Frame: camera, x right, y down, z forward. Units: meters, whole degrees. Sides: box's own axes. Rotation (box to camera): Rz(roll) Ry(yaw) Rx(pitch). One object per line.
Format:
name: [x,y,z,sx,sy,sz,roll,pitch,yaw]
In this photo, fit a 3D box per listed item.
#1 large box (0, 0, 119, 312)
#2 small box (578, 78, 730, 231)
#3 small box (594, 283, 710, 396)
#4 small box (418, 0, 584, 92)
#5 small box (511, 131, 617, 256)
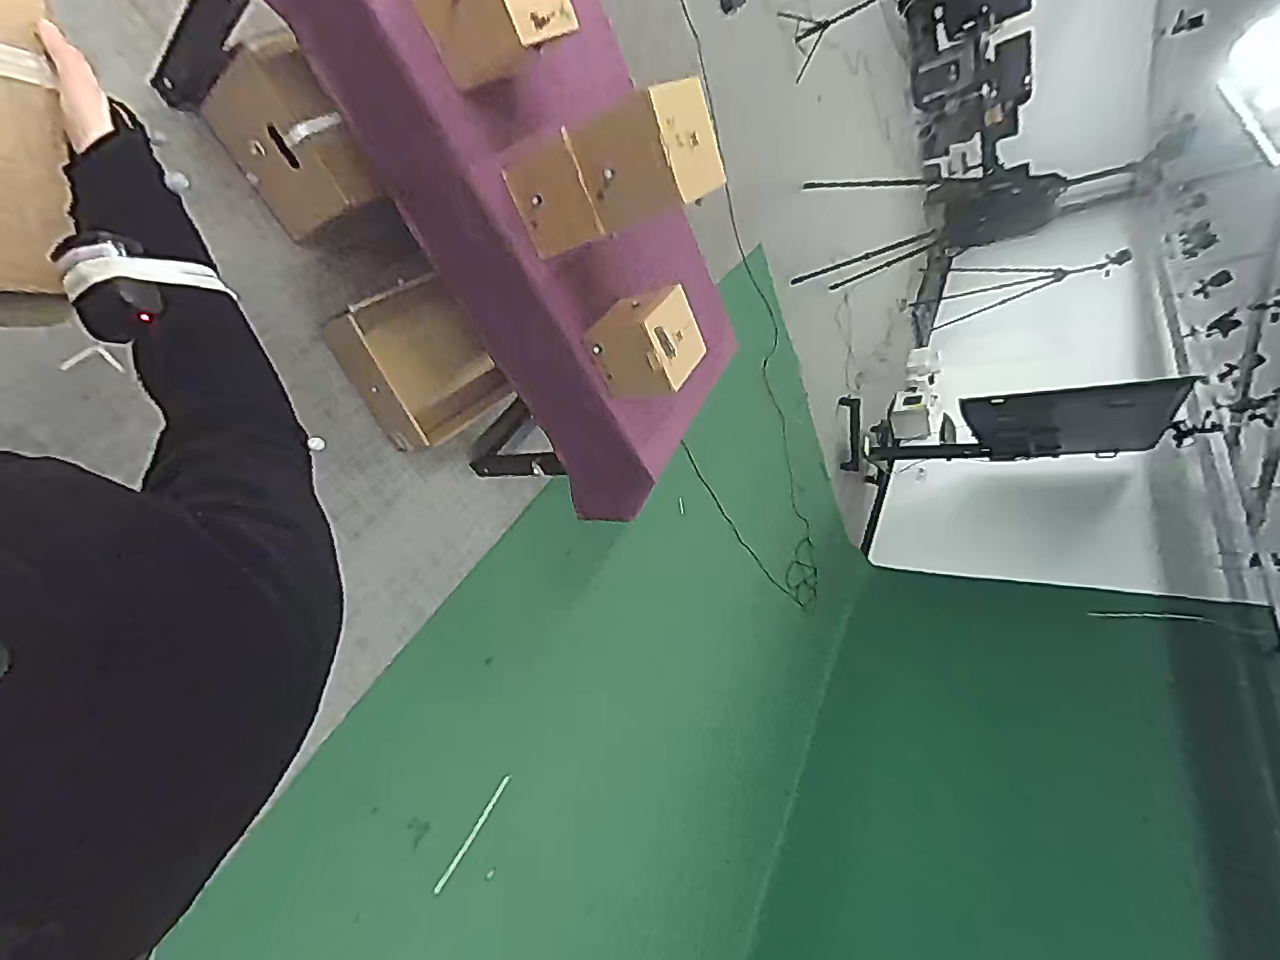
large box: [-0.670,-0.287,0.347,0.408,0.320,0.320,-17,110,-51]
small box: [0.026,-0.549,0.922,0.179,0.176,0.168,-48,125,-39]
small box: [0.023,-0.299,1.179,0.179,0.176,0.168,-55,130,-36]
small box: [-0.230,-0.767,0.861,0.168,0.176,0.179,-54,128,-35]
small box: [-0.107,-0.547,1.020,0.179,0.176,0.168,-49,126,-38]
